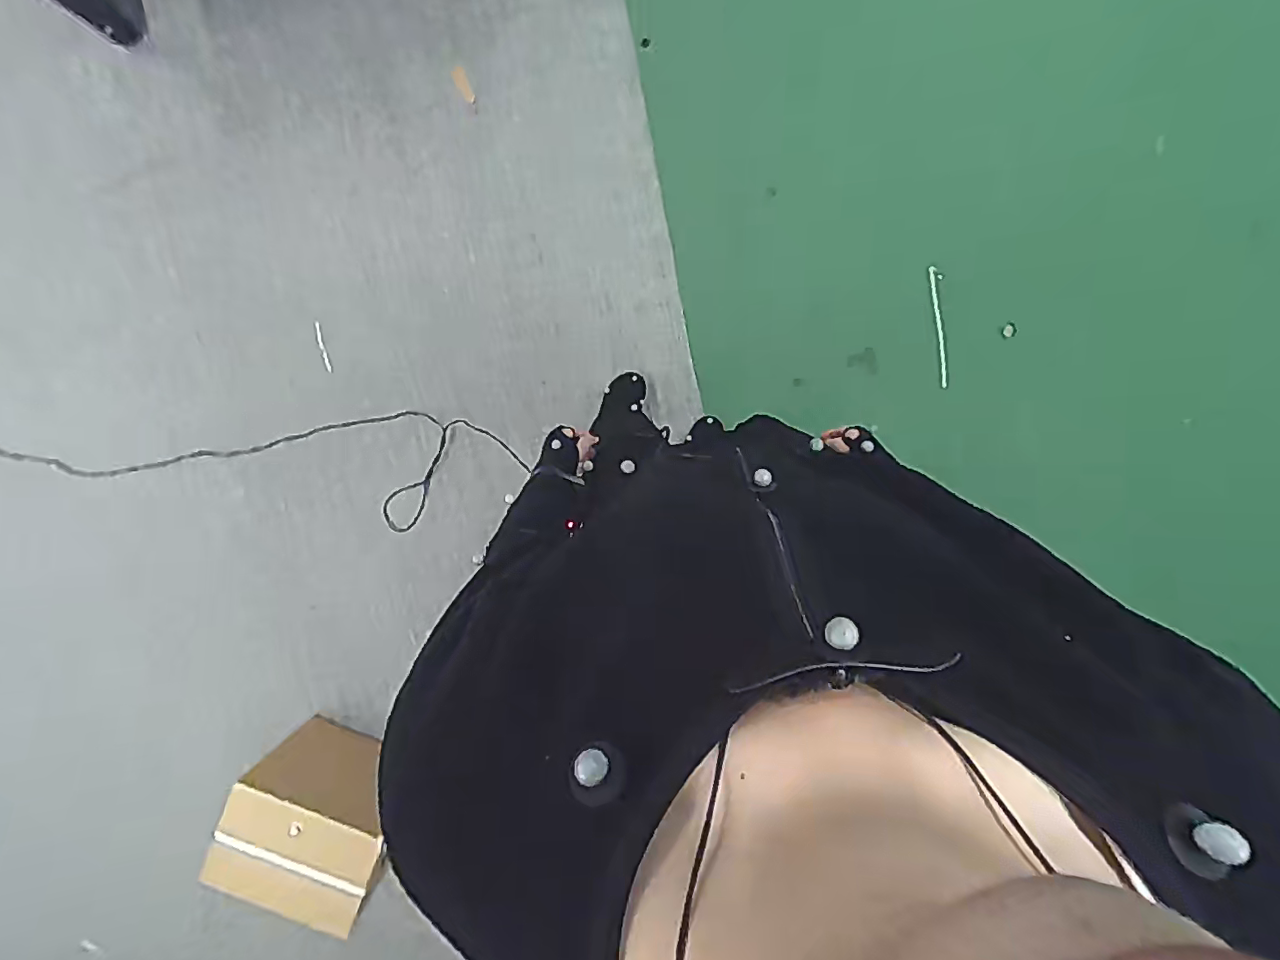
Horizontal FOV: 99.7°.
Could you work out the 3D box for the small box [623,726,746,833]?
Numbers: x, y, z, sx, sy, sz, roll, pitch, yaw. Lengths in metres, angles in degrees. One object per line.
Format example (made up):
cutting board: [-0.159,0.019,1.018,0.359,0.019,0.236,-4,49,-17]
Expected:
small box: [0.086,0.599,1.006,0.179,0.176,0.168,-26,94,4]

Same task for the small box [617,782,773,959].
small box: [0.083,0.618,0.842,0.179,0.176,0.168,-25,95,6]
